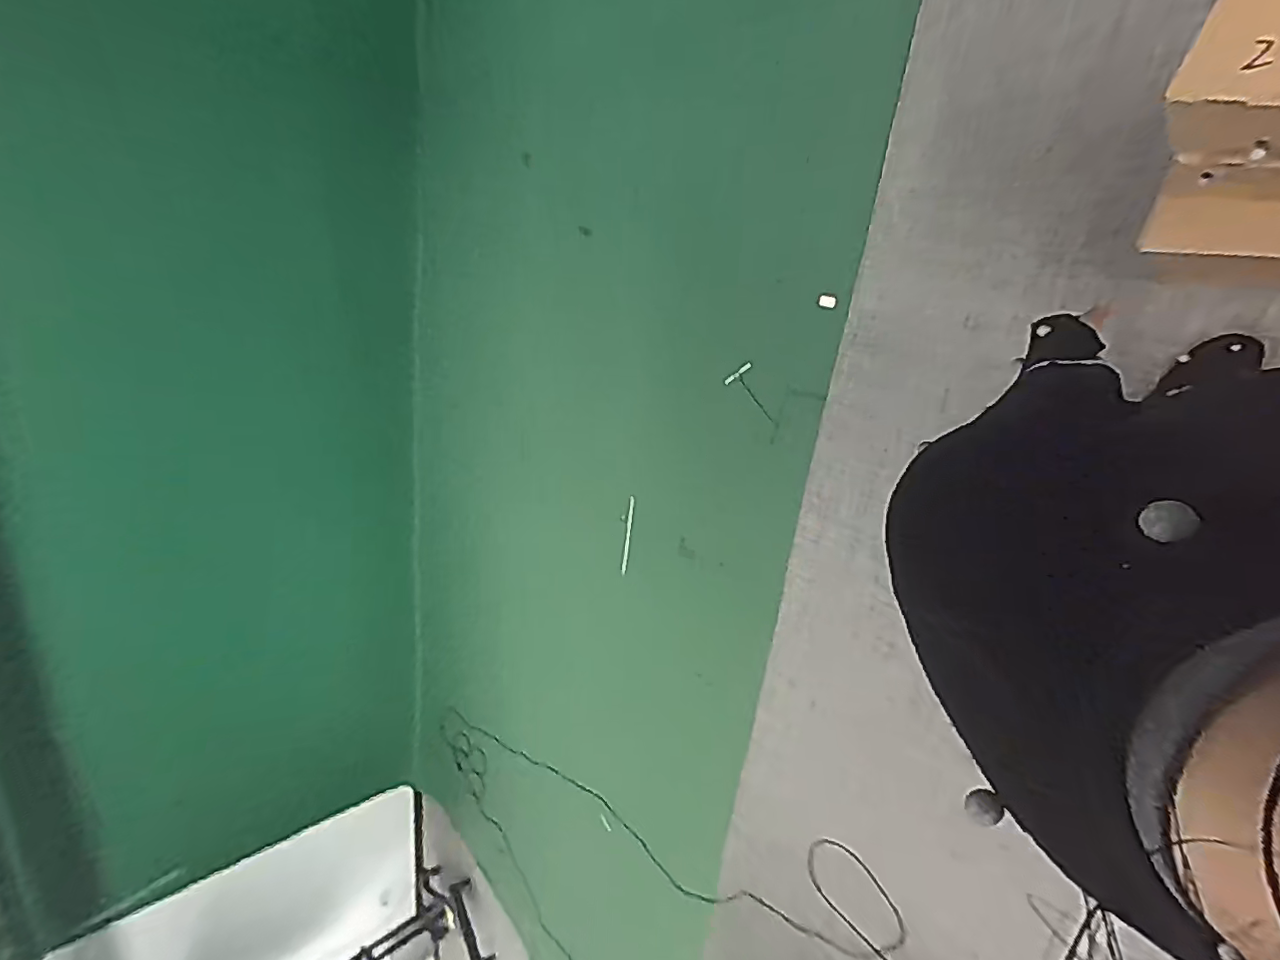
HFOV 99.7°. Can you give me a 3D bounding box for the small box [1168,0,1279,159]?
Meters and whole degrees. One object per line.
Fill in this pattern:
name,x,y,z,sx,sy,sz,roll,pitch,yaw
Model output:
small box,0.635,-0.414,0.490,0.168,0.176,0.179,37,123,36
